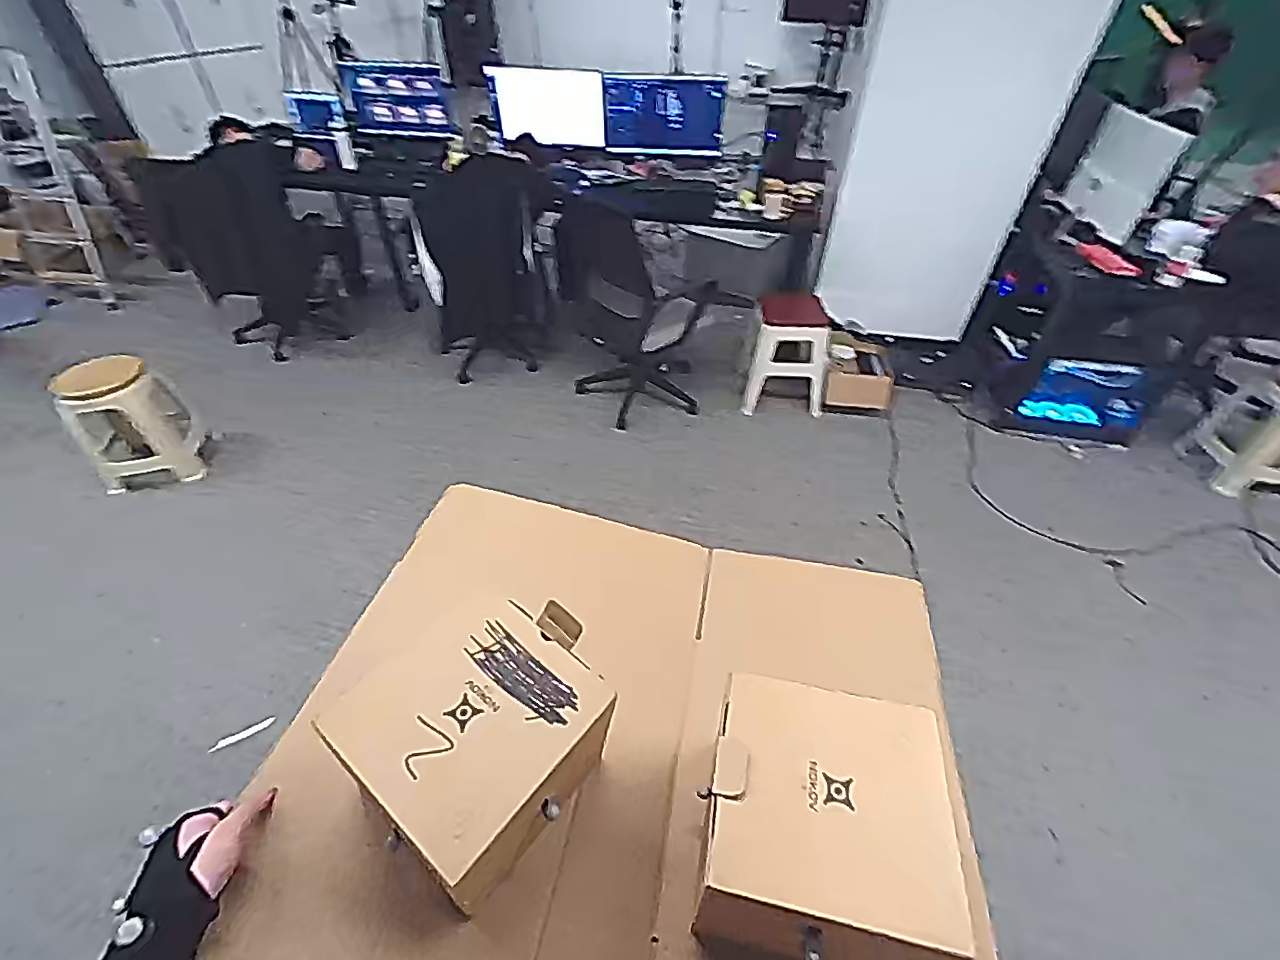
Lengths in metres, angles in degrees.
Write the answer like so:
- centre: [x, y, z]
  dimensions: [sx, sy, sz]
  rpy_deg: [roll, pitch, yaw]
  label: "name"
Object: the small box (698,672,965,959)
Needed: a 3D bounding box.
- centre: [0.152, 0.302, 0.484]
  dimensions: [0.179, 0.176, 0.168]
  rpy_deg: [7, 43, 10]
  label: "small box"
